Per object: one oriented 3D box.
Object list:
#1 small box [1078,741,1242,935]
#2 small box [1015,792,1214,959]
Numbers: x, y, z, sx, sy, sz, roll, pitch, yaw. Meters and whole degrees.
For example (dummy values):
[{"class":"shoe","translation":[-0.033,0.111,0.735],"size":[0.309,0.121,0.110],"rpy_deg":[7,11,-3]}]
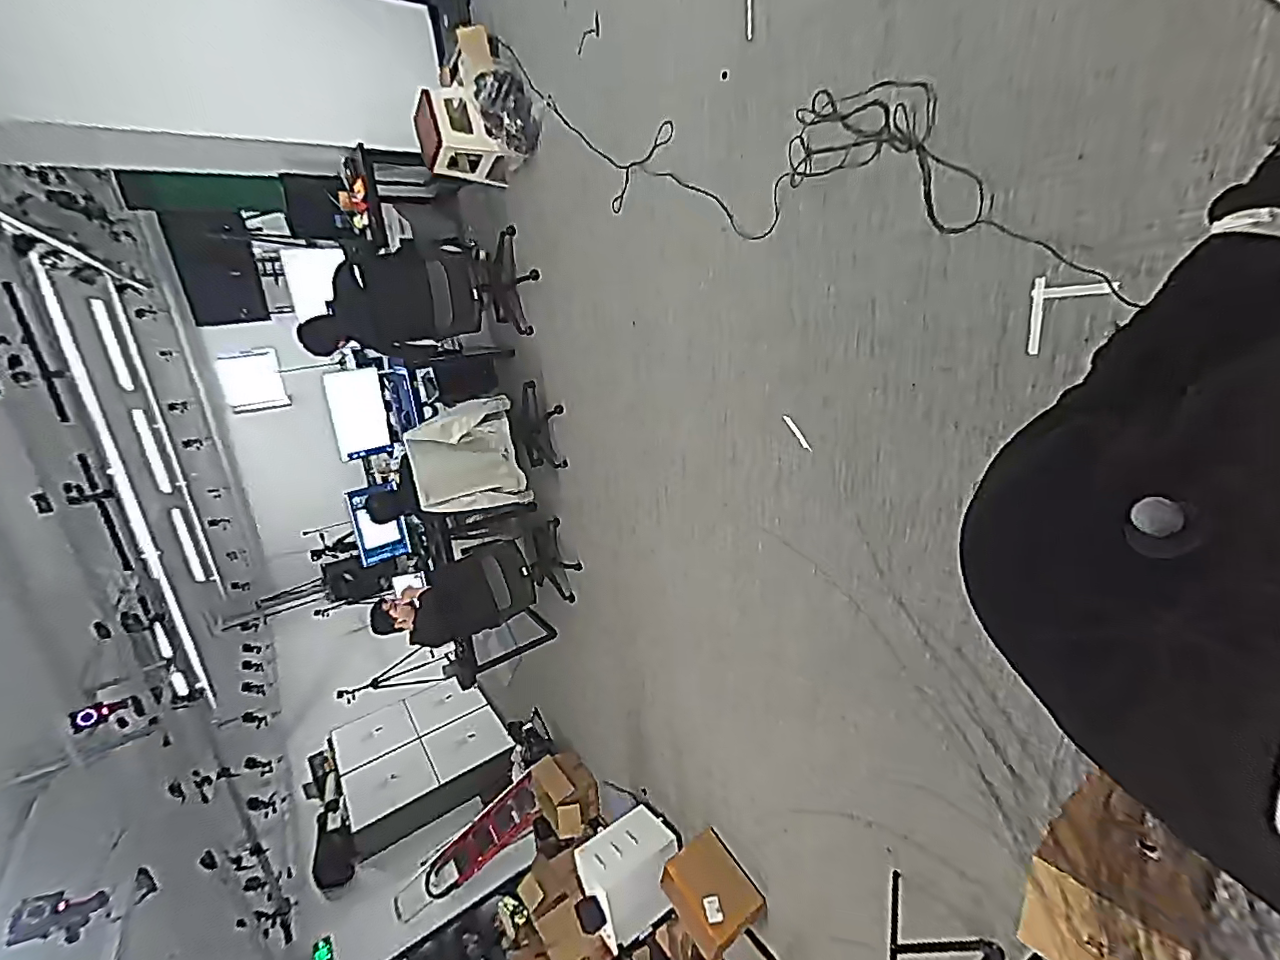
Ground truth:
[{"class":"small box","translation":[0.794,0.554,0.846],"size":[0.168,0.176,0.179],"rpy_deg":[21,122,50]},{"class":"small box","translation":[0.663,0.595,0.760],"size":[0.168,0.176,0.179],"rpy_deg":[17,118,50]}]
